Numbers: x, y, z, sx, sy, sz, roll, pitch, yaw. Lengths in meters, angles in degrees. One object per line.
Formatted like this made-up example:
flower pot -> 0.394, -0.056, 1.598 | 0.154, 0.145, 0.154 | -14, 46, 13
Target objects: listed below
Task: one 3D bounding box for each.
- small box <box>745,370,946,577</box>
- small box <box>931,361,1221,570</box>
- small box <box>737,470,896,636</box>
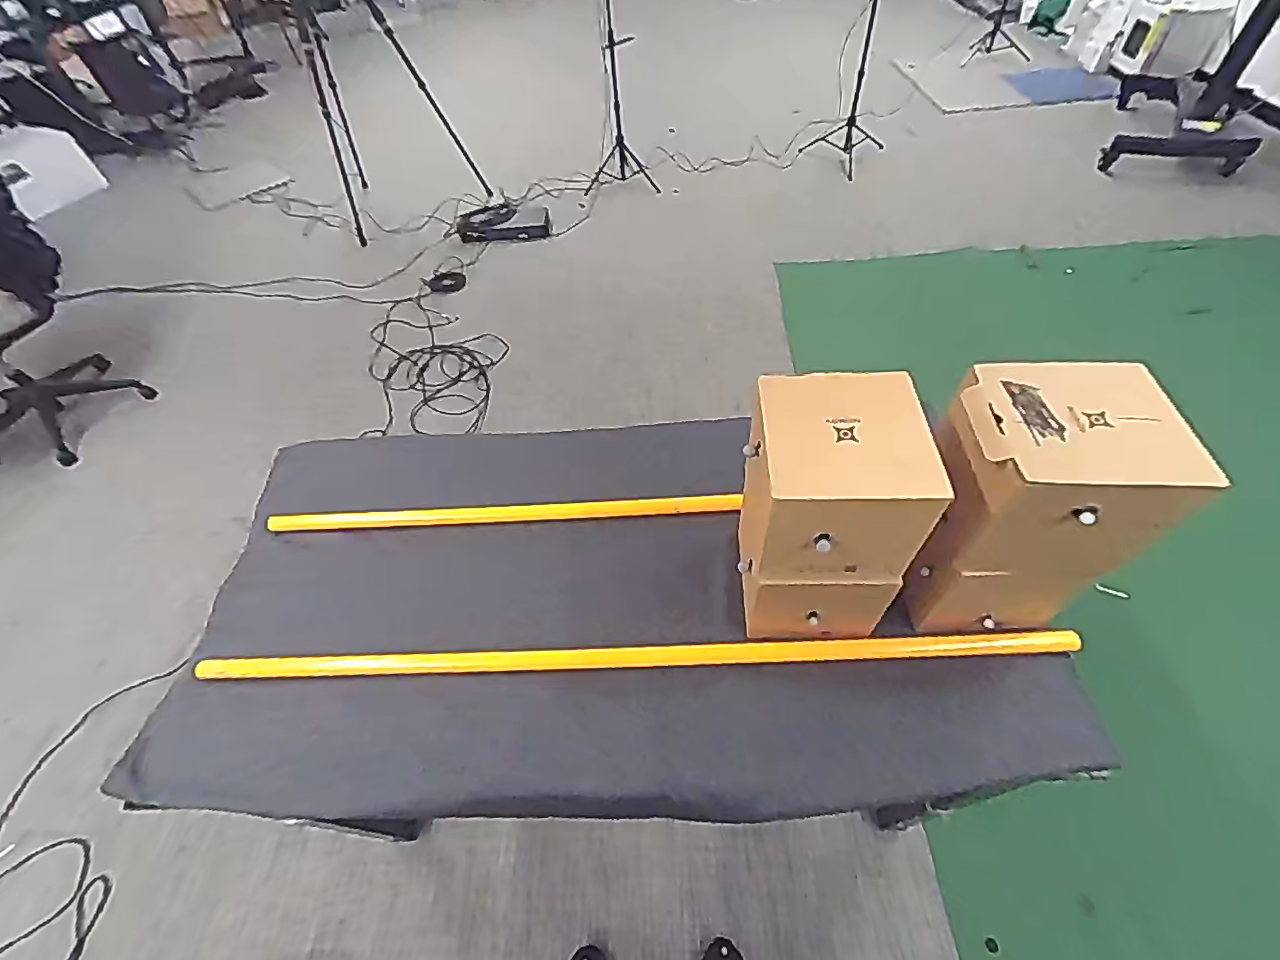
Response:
small box -> 0.211, -0.001, 0.611 | 0.168, 0.176, 0.179 | -1, 52, 5
small box -> 0.440, -0.012, 0.595 | 0.179, 0.176, 0.168 | 1, 53, 5
small box -> 0.224, 0.102, 0.737 | 0.168, 0.176, 0.179 | -1, 52, 4
